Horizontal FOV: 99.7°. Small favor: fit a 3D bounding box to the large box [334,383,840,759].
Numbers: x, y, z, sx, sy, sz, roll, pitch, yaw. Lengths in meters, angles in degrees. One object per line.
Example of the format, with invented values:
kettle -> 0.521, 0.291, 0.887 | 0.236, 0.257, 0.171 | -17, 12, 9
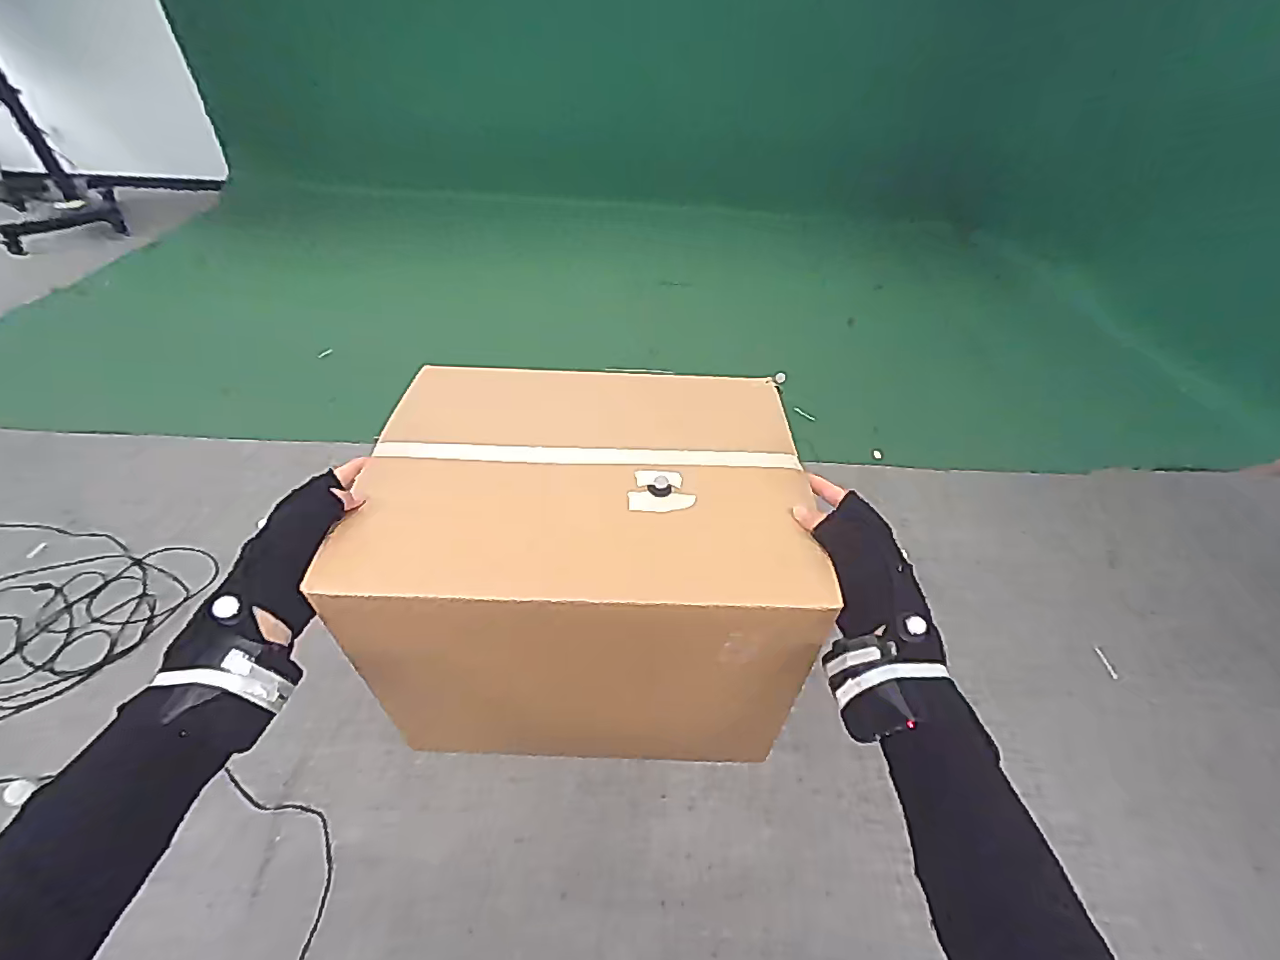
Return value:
large box -> -0.048, 0.105, 0.626 | 0.408, 0.320, 0.320 | 2, 43, -2
